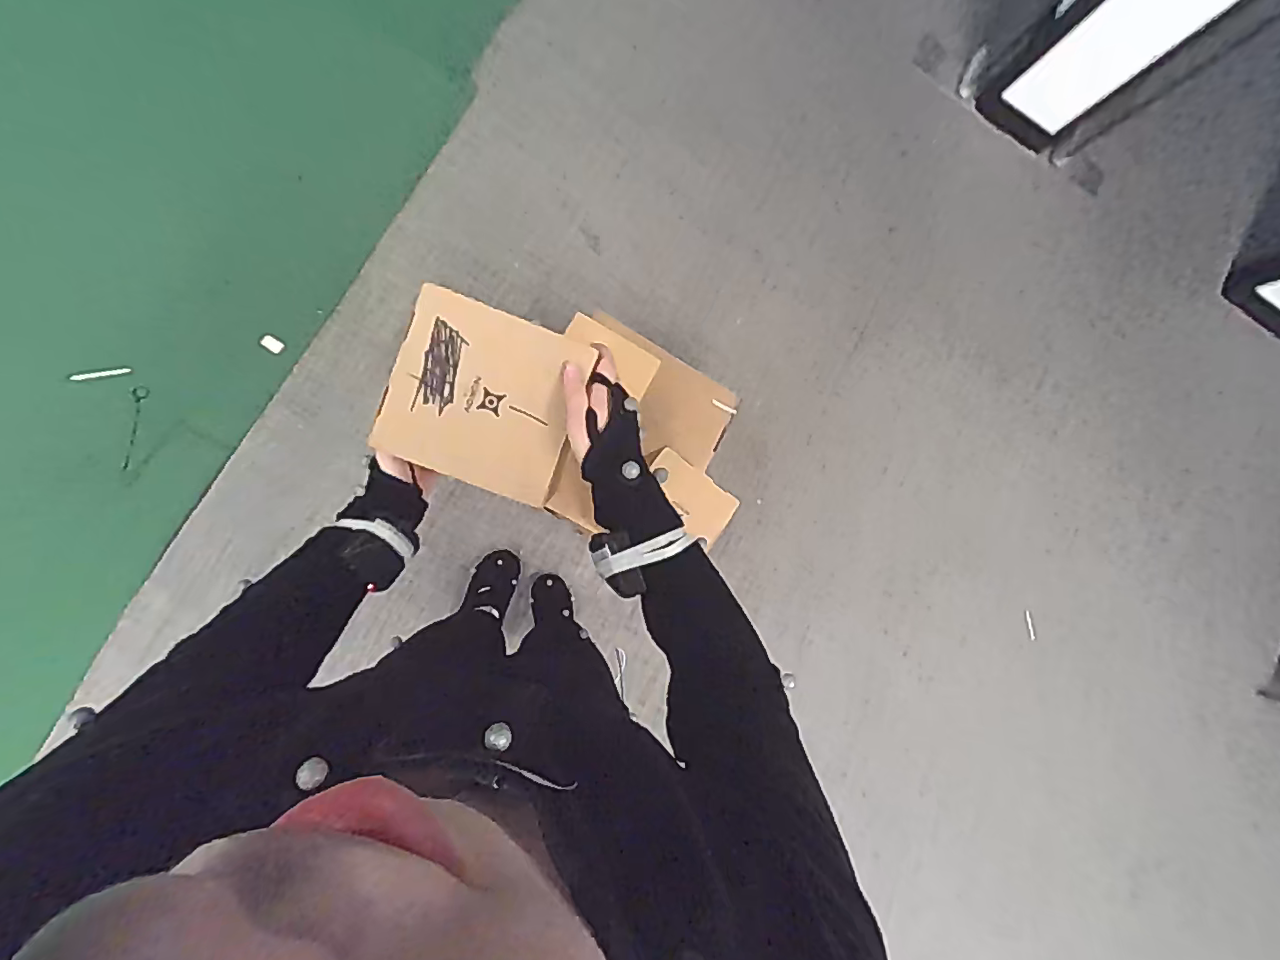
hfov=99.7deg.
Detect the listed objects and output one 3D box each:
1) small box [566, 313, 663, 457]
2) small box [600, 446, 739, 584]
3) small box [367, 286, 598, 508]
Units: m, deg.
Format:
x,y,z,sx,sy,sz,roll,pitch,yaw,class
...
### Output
x,y,z,sx,sy,sz,roll,pitch,yaw,class
-0.085,-0.160,0.974,0.168,0.176,0.179,30,80,-8,small box
0.043,0.062,0.982,0.168,0.176,0.179,38,80,-7,small box
-0.155,-0.083,0.591,0.179,0.176,0.168,20,94,-5,small box
